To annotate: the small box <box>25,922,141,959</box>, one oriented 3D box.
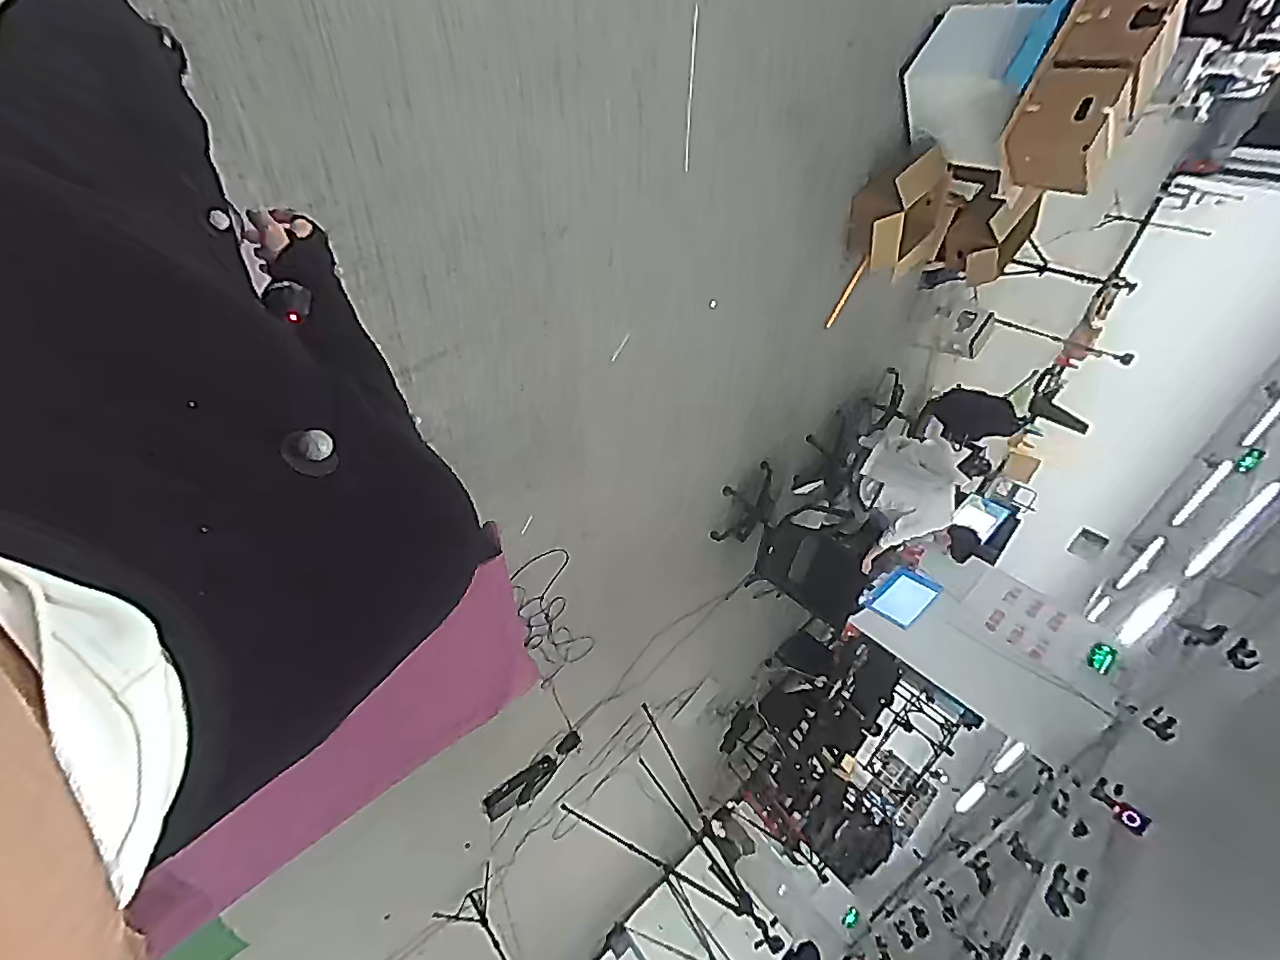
[{"bbox_3d":[-1.061,0.974,1.001,0.168,0.176,0.179,-30,139,-32],"label":"small box"}]
